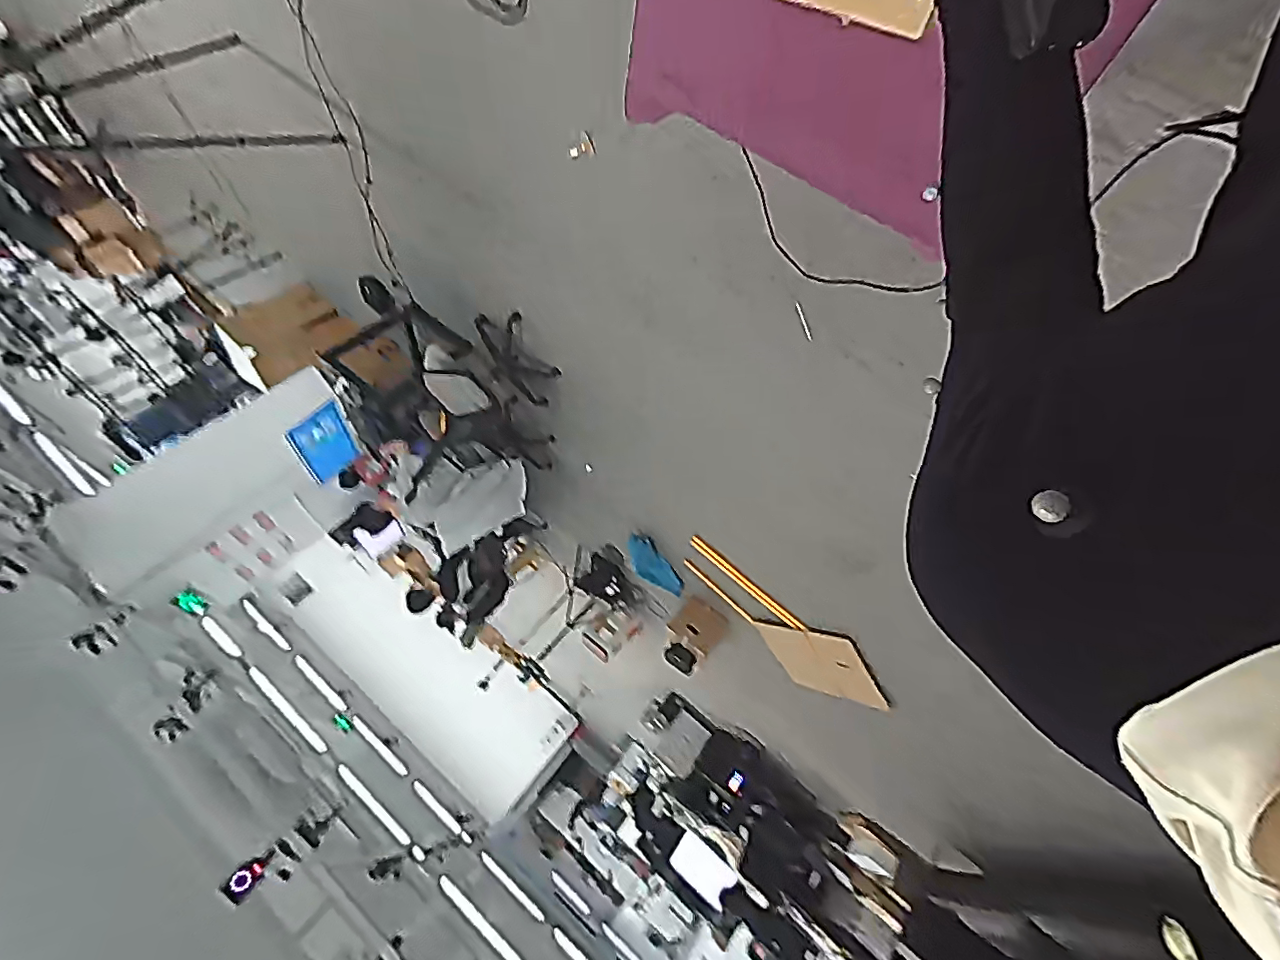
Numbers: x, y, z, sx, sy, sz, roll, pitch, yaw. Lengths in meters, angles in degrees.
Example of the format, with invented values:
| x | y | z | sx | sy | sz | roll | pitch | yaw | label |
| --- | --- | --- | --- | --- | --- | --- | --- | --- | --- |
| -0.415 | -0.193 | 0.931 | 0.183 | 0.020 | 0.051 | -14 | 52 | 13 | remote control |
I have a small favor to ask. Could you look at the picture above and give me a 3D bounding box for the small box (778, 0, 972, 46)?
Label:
| x | y | z | sx | sy | sz | roll | pitch | yaw | label |
| --- | --- | --- | --- | --- | --- | --- | --- | --- | --- |
| 0.261 | -0.573 | 0.536 | 0.179 | 0.176 | 0.168 | 35 | 150 | 17 | small box |
